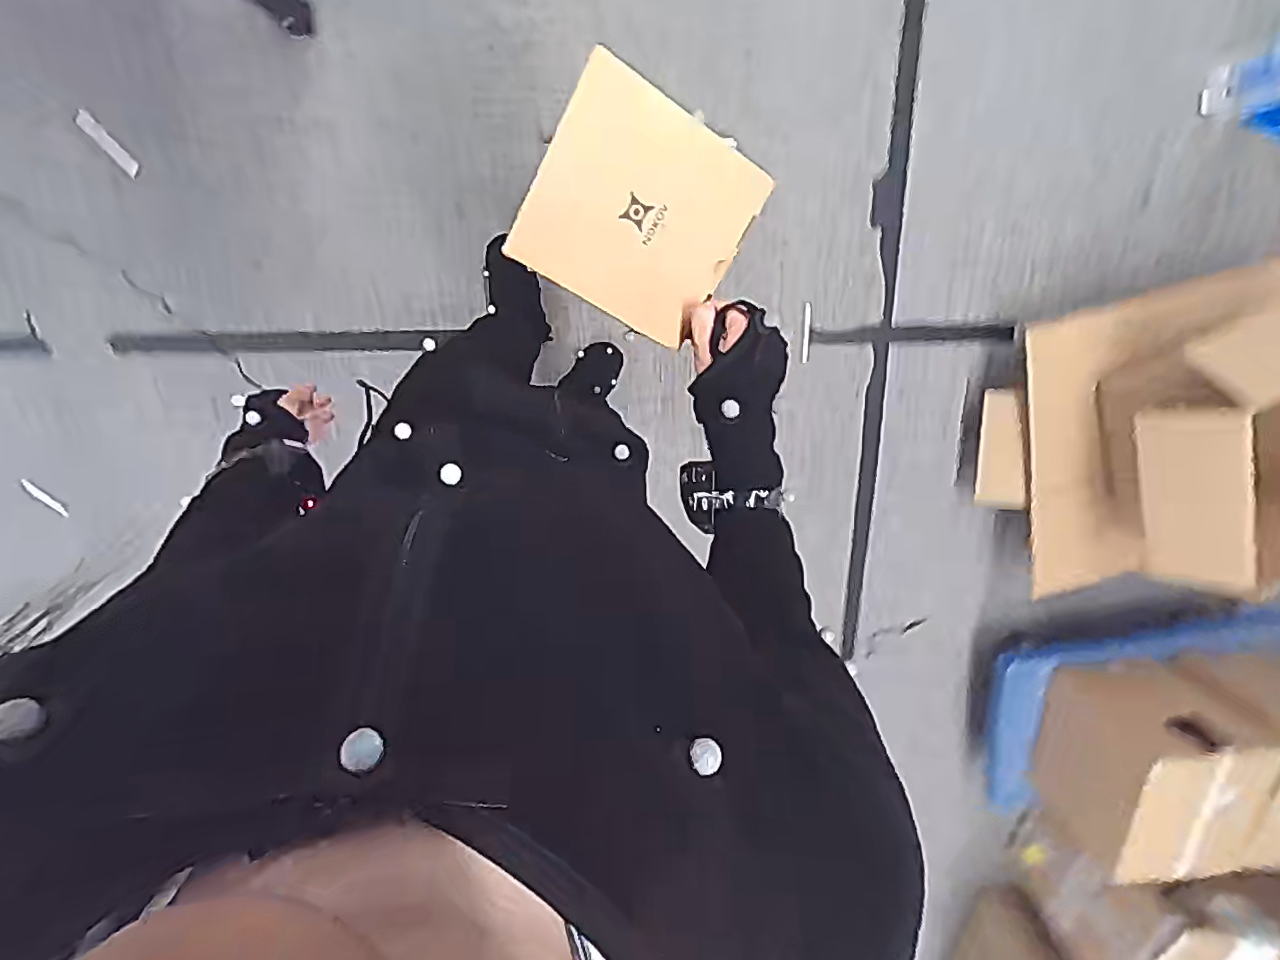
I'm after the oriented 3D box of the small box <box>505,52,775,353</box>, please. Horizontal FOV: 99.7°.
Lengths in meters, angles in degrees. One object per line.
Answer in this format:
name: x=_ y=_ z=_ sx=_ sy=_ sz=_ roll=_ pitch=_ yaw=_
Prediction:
small box: x=-0.012 y=-0.245 z=0.516 sx=0.179 sy=0.176 sz=0.168 roll=24 pitch=107 yaw=-20
